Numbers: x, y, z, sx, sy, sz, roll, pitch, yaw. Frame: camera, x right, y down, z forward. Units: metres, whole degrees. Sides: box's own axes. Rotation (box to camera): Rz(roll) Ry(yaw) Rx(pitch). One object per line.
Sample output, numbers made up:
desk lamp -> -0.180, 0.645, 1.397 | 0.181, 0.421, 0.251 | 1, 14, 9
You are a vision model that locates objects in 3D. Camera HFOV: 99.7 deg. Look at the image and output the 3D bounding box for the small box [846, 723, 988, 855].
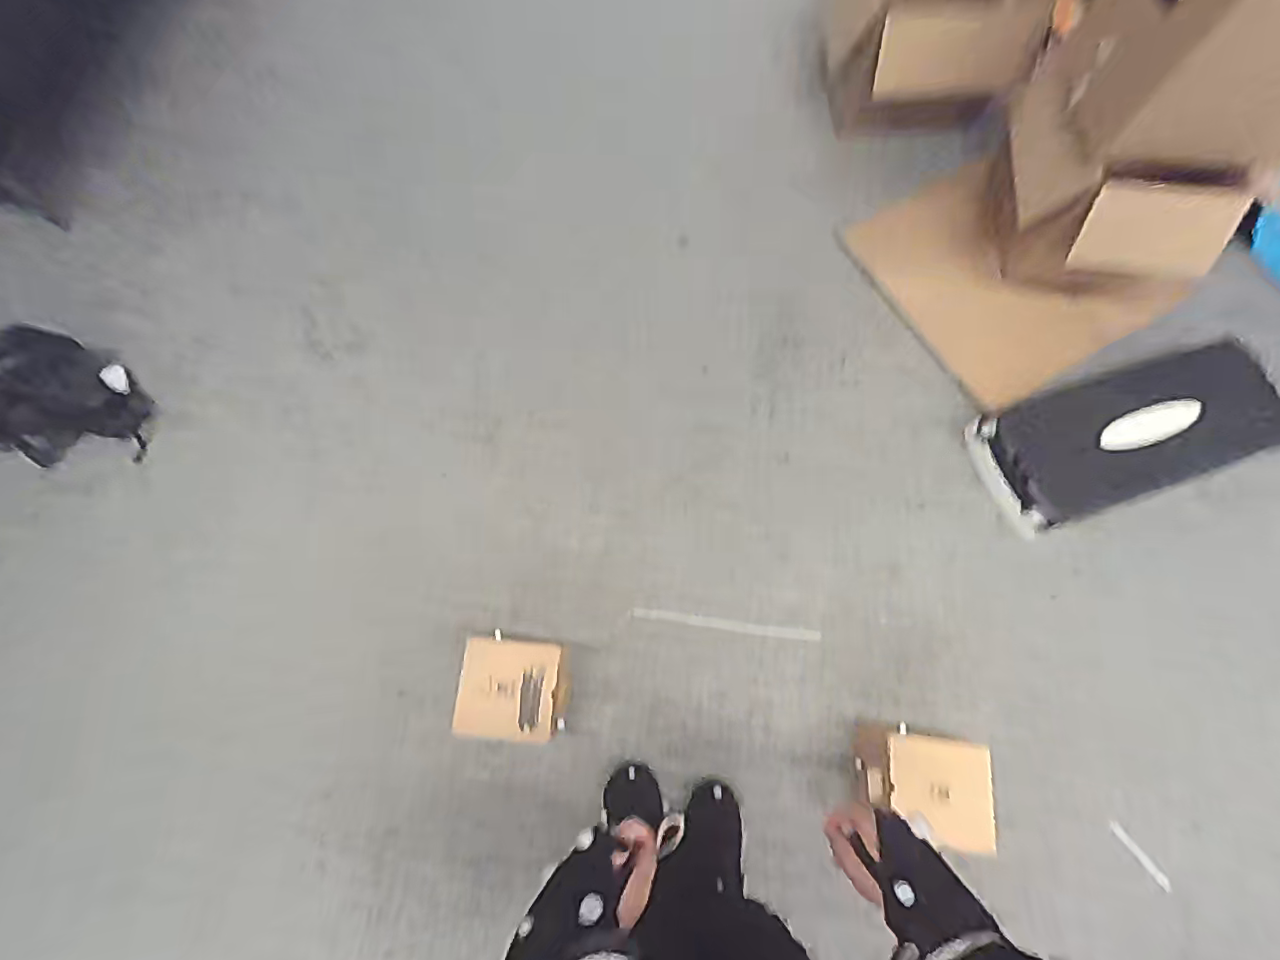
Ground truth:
small box -> 0.498, 0.553, 0.991 | 0.179, 0.176, 0.168 | 6, 74, 2
